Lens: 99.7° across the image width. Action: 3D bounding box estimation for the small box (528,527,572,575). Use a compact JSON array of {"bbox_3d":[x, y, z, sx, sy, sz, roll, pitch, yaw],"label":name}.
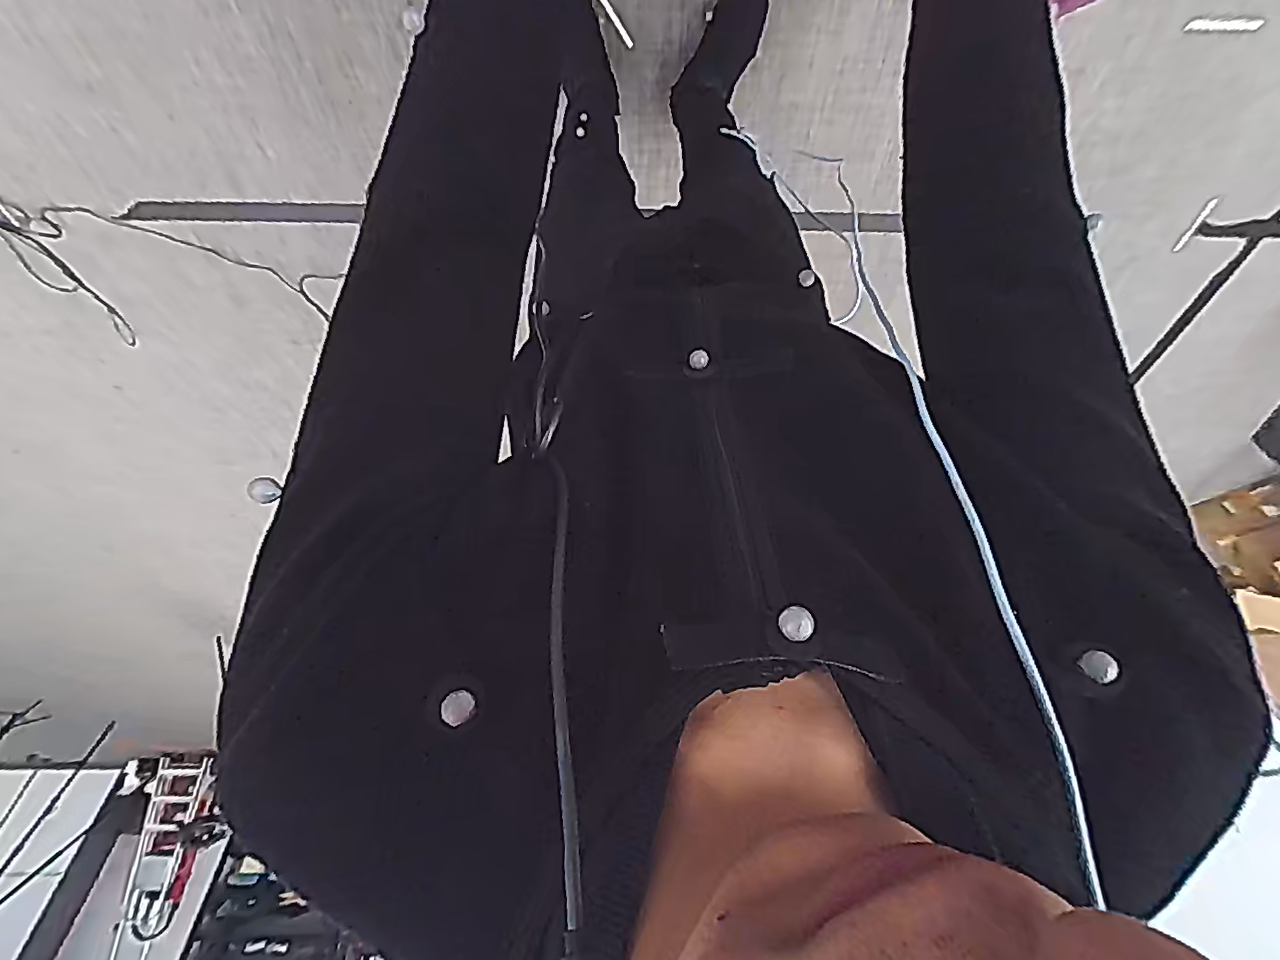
[{"bbox_3d":[-0.412,0.328,2.512,0.179,0.176,0.168,-1,140,1],"label":"small box"}]
